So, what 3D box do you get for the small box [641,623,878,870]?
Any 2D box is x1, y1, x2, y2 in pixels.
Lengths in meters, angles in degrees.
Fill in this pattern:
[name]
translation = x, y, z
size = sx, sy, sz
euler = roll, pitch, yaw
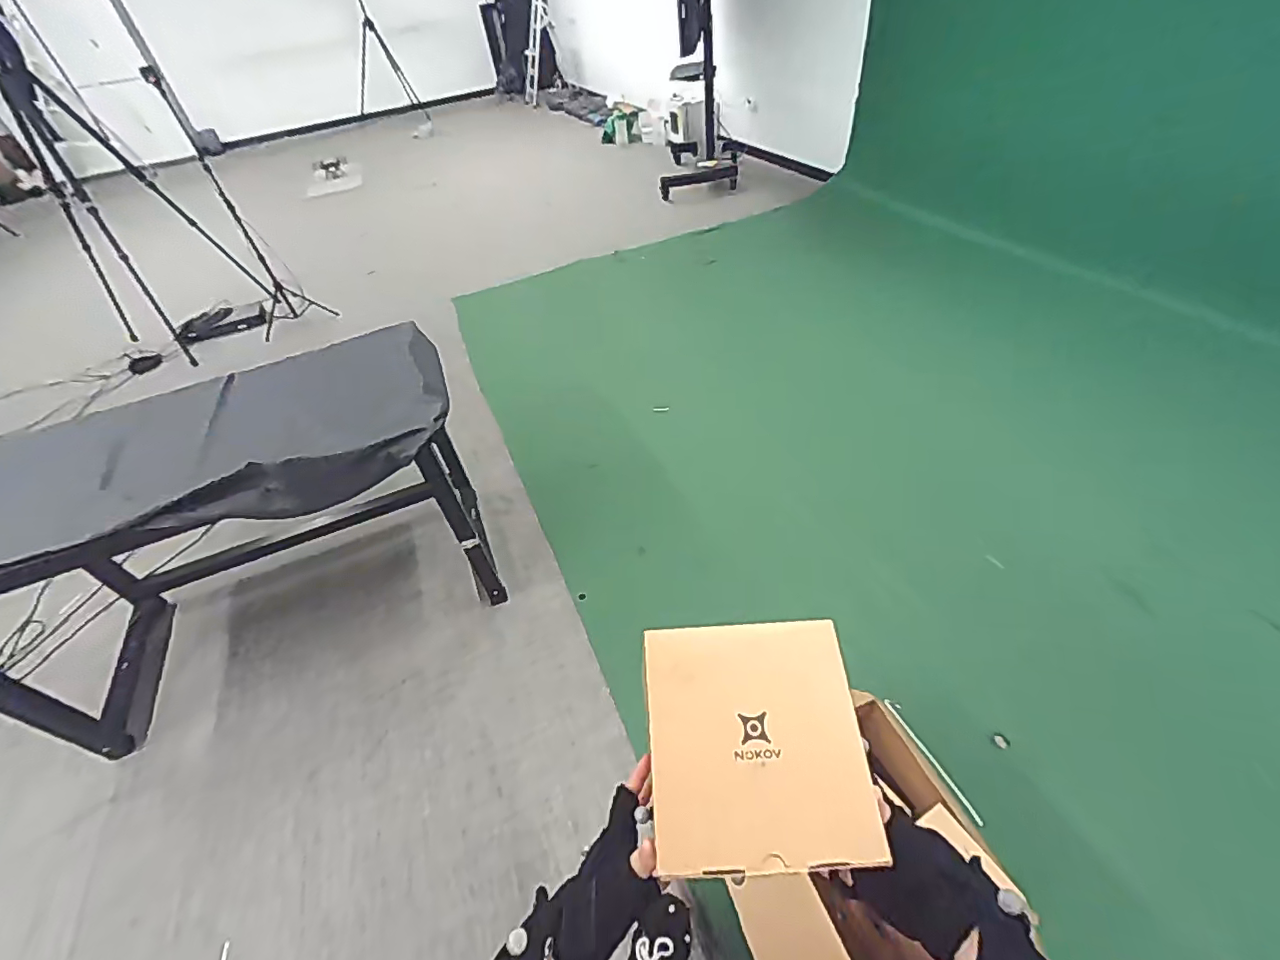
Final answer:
[small box]
translation = 0.086, 0.244, 0.497
size = 0.168, 0.176, 0.179
euler = -2, 58, -1
